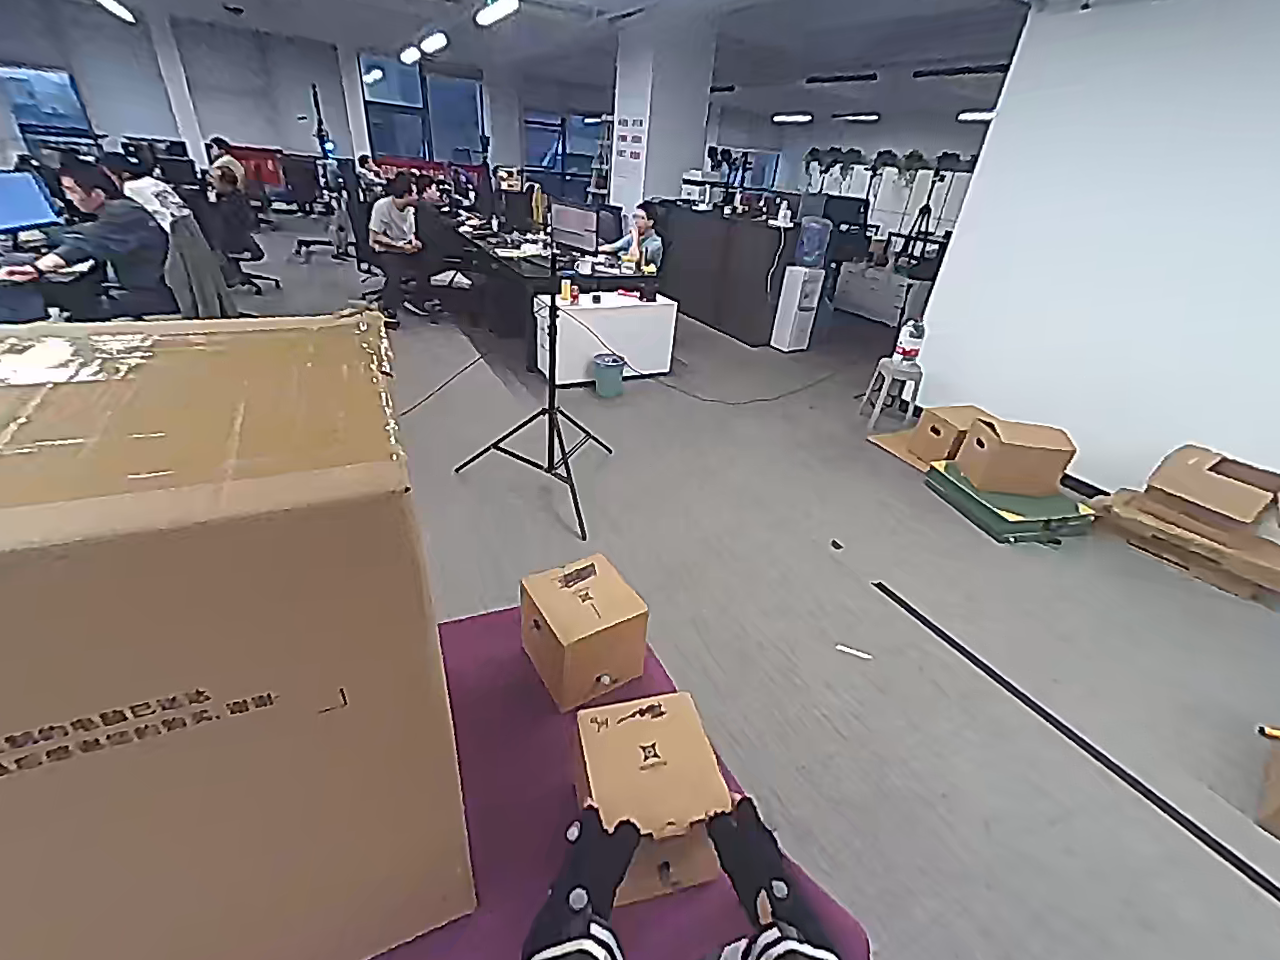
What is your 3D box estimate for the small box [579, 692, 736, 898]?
[{"bbox_3d":[0.012,0.422,0.726,0.168,0.176,0.179,-4,33,-15],"label":"small box"}]
